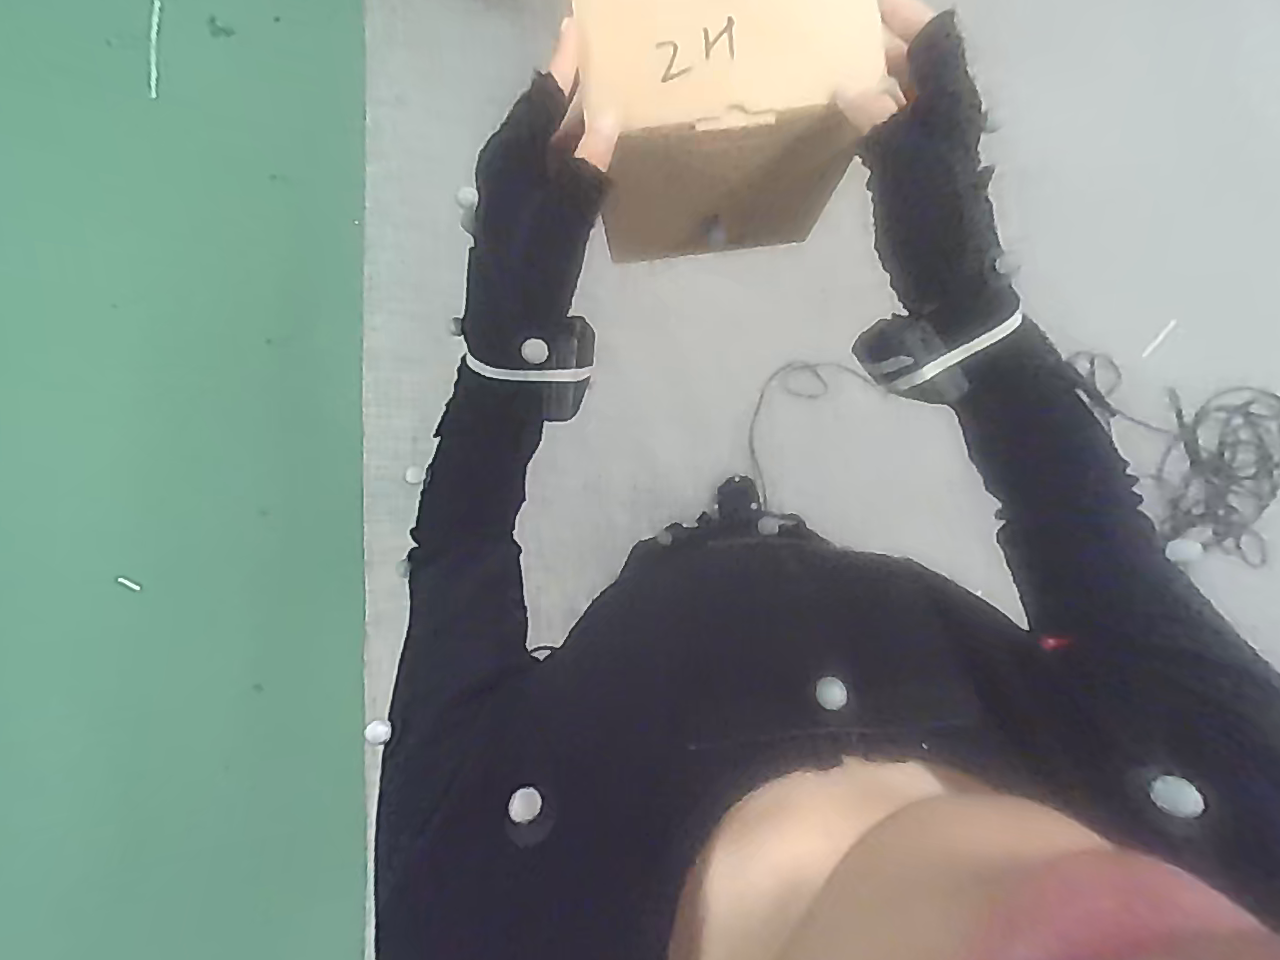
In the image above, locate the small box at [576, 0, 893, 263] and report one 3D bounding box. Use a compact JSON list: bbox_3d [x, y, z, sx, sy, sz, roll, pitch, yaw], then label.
[{"bbox_3d":[0.048,-0.276,0.369,0.168,0.176,0.179,-5,87,3],"label":"small box"}]
